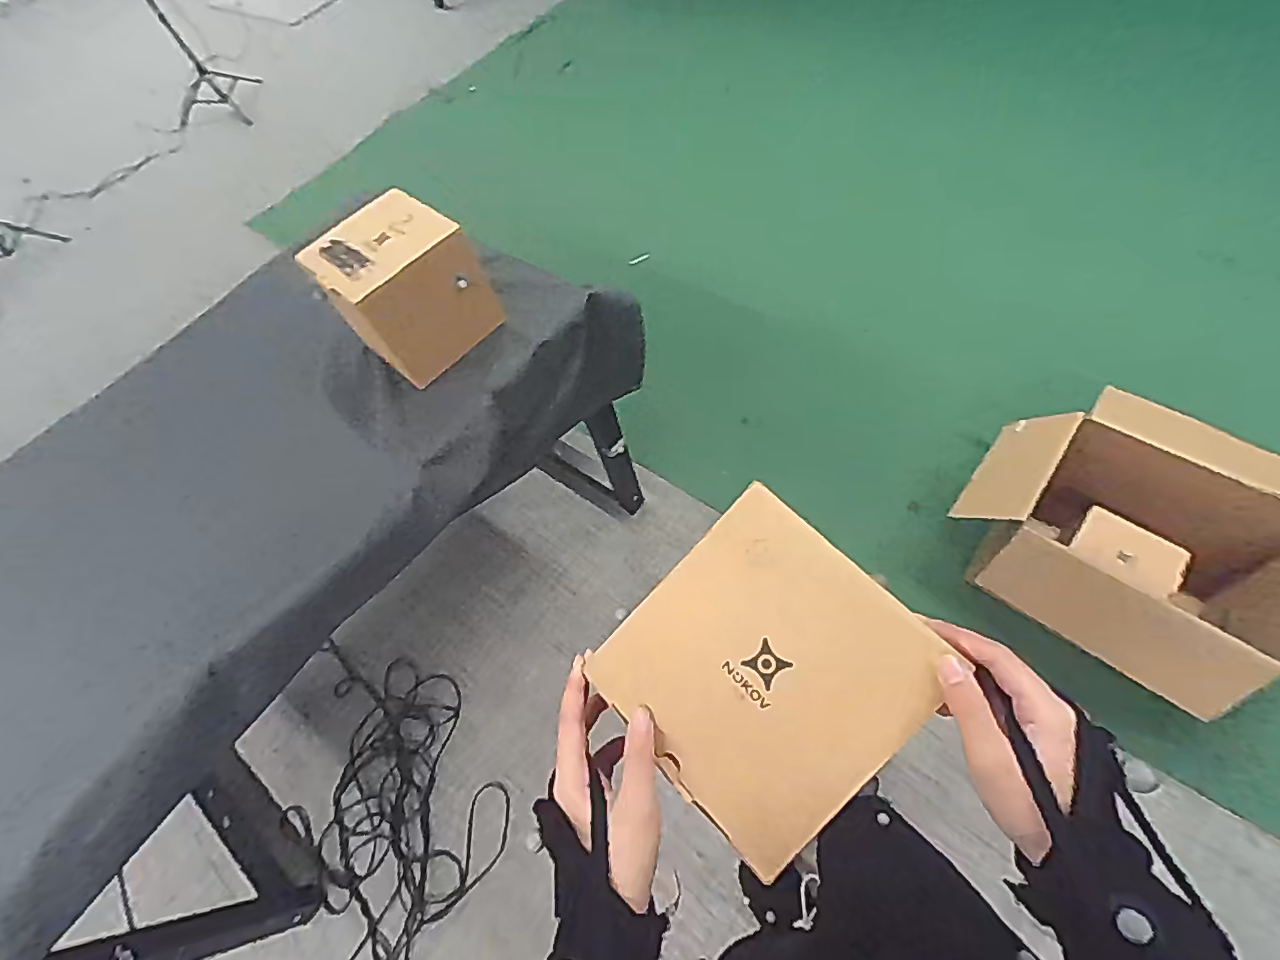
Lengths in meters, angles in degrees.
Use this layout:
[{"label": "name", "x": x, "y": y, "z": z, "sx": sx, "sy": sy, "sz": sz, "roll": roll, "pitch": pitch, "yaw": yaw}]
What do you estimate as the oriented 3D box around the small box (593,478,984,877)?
[{"label": "small box", "x": 0.099, "y": 0.126, "z": 0.404, "sx": 0.168, "sy": 0.176, "sz": 0.179, "roll": 44, "pitch": 92, "yaw": 18}]
